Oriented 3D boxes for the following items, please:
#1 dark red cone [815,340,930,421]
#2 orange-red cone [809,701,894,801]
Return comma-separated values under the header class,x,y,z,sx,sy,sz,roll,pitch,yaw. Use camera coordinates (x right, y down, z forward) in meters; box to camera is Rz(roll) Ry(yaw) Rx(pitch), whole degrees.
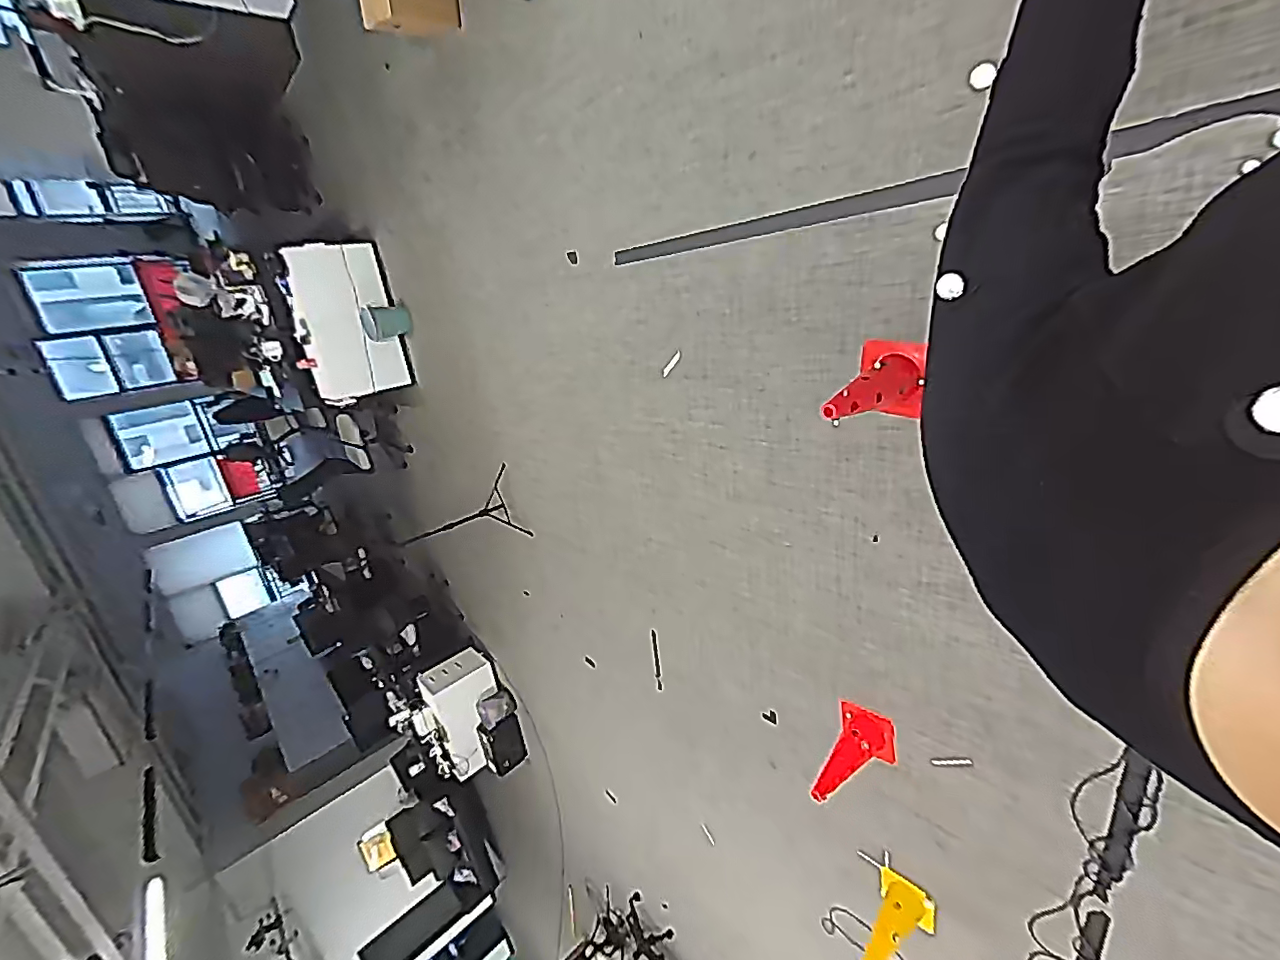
class,x,y,z,sx,sy,sz,roll,pitch,yaw
dark red cone,0.555,-0.217,1.361,0.201,0.394,0.202,20,124,42
orange-red cone,0.697,0.973,1.865,0.198,0.360,0.199,11,119,48
